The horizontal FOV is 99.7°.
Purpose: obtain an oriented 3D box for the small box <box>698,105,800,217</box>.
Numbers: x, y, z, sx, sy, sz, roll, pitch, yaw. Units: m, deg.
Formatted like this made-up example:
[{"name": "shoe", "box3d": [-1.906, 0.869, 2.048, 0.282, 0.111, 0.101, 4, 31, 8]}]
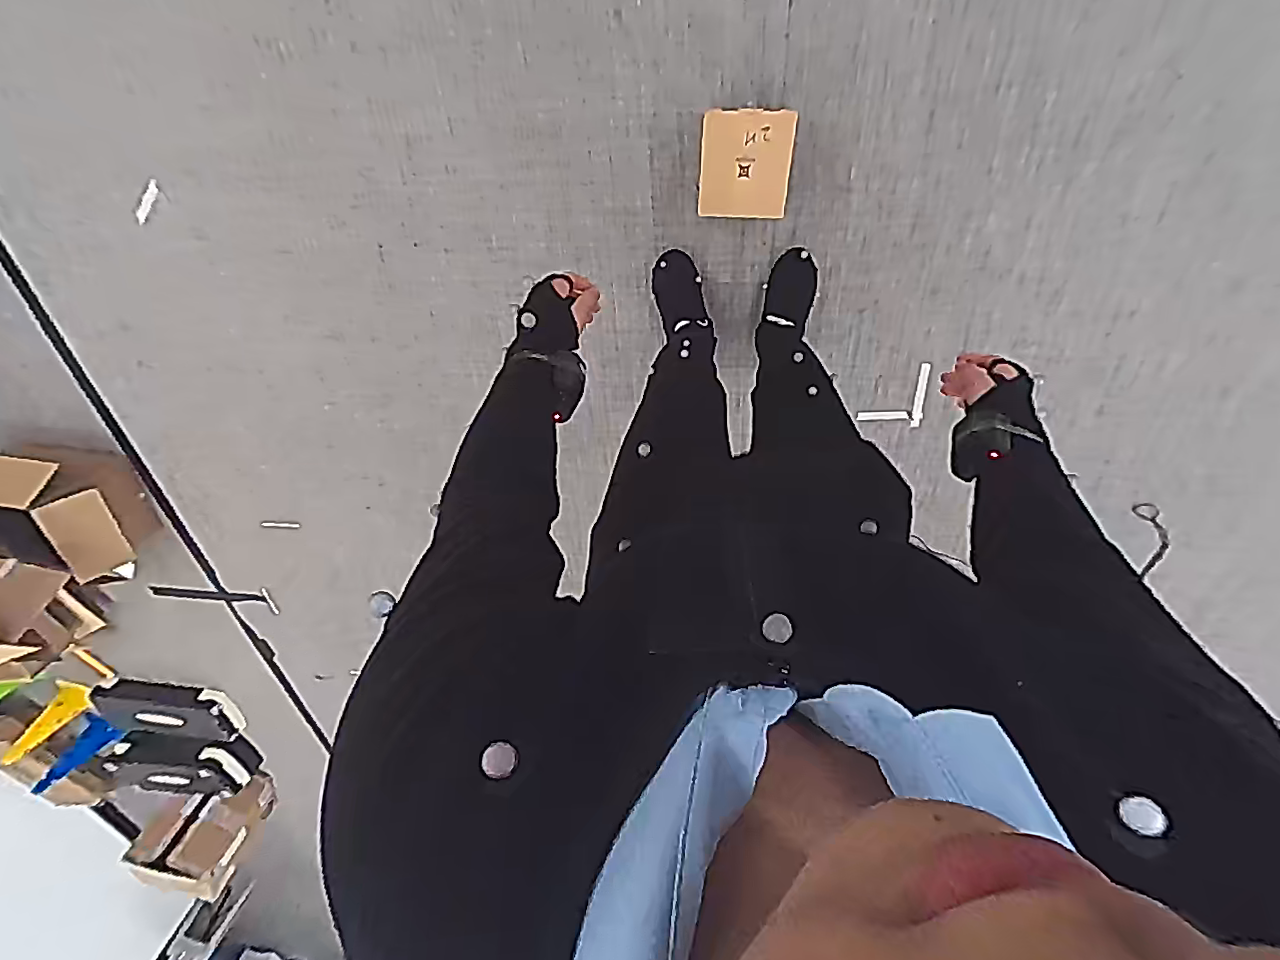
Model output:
[{"name": "small box", "box3d": [0.205, -0.623, 1.053, 0.168, 0.176, 0.179, 4, 123, 5]}]
